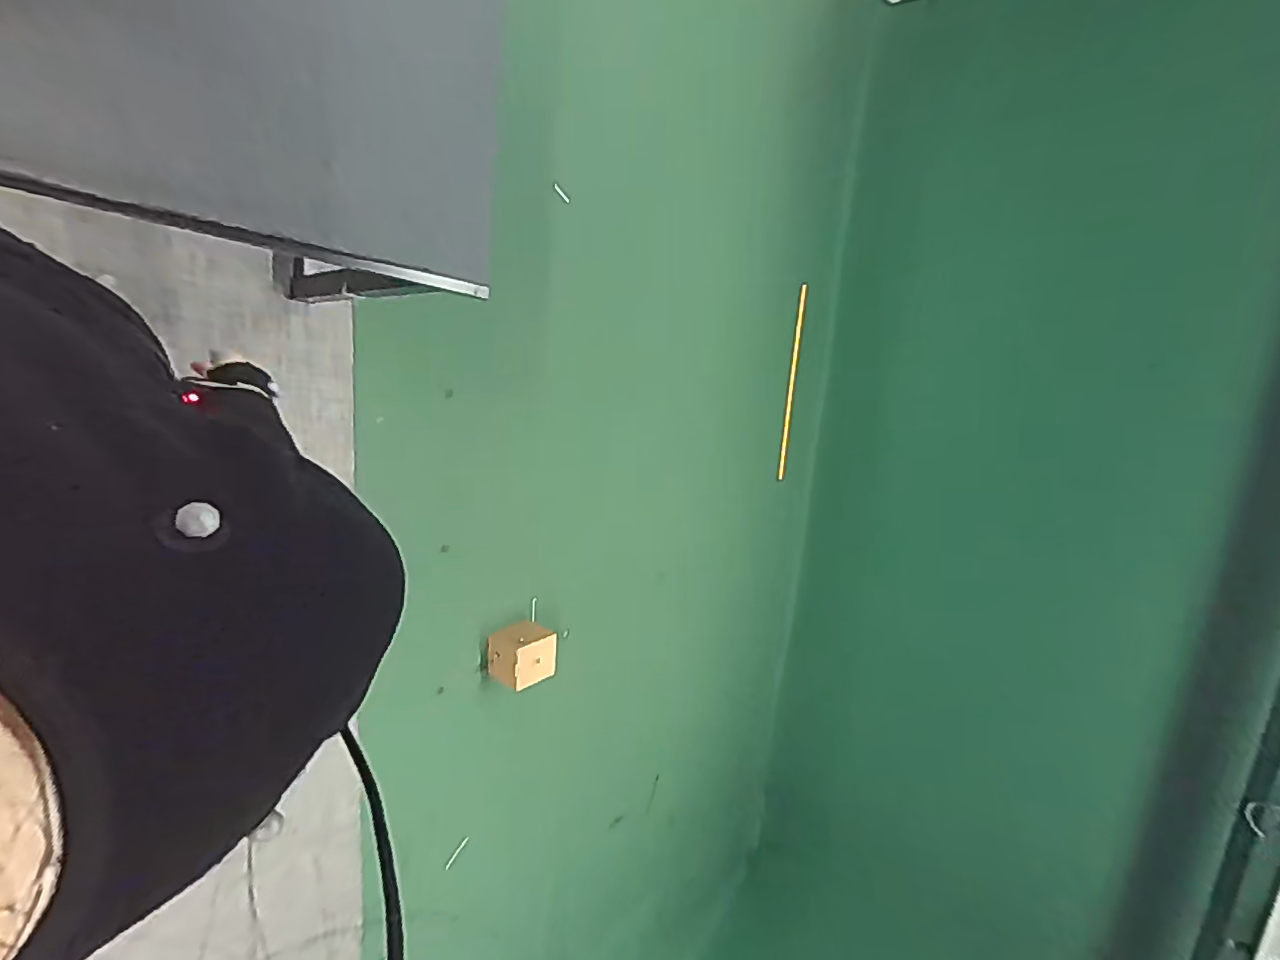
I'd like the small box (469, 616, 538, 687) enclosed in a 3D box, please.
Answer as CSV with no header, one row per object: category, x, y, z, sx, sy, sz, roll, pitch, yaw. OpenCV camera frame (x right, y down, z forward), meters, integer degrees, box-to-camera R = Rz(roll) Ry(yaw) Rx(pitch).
small box,-0.496,0.615,1.965,0.179,0.176,0.168,-9,108,-50
